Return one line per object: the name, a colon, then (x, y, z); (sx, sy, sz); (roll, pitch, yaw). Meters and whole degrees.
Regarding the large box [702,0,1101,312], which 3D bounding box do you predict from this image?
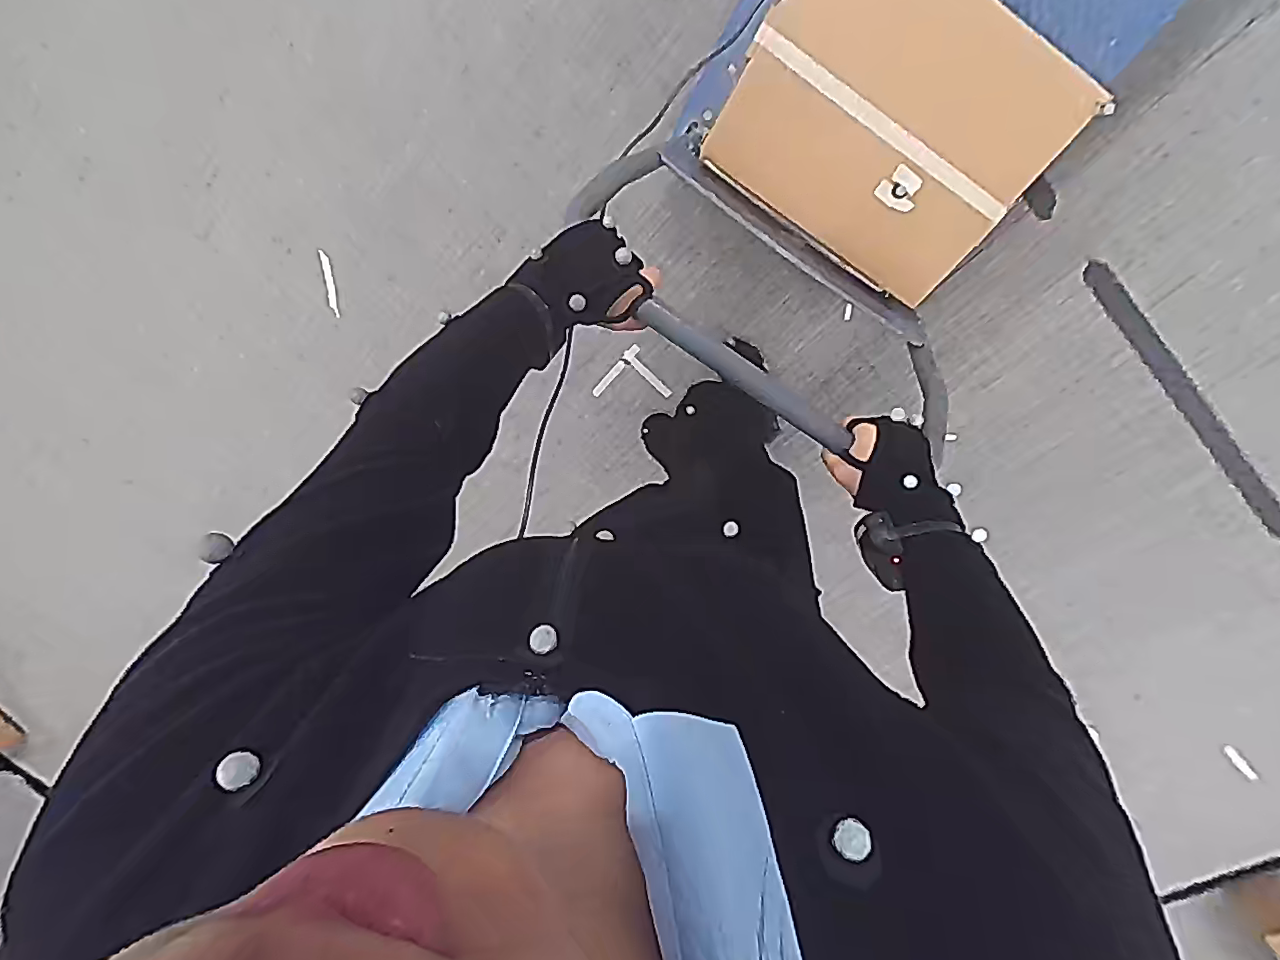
large box: (0.359, -0.540, 0.847); (0.408, 0.320, 0.320); (33, 126, -7)
